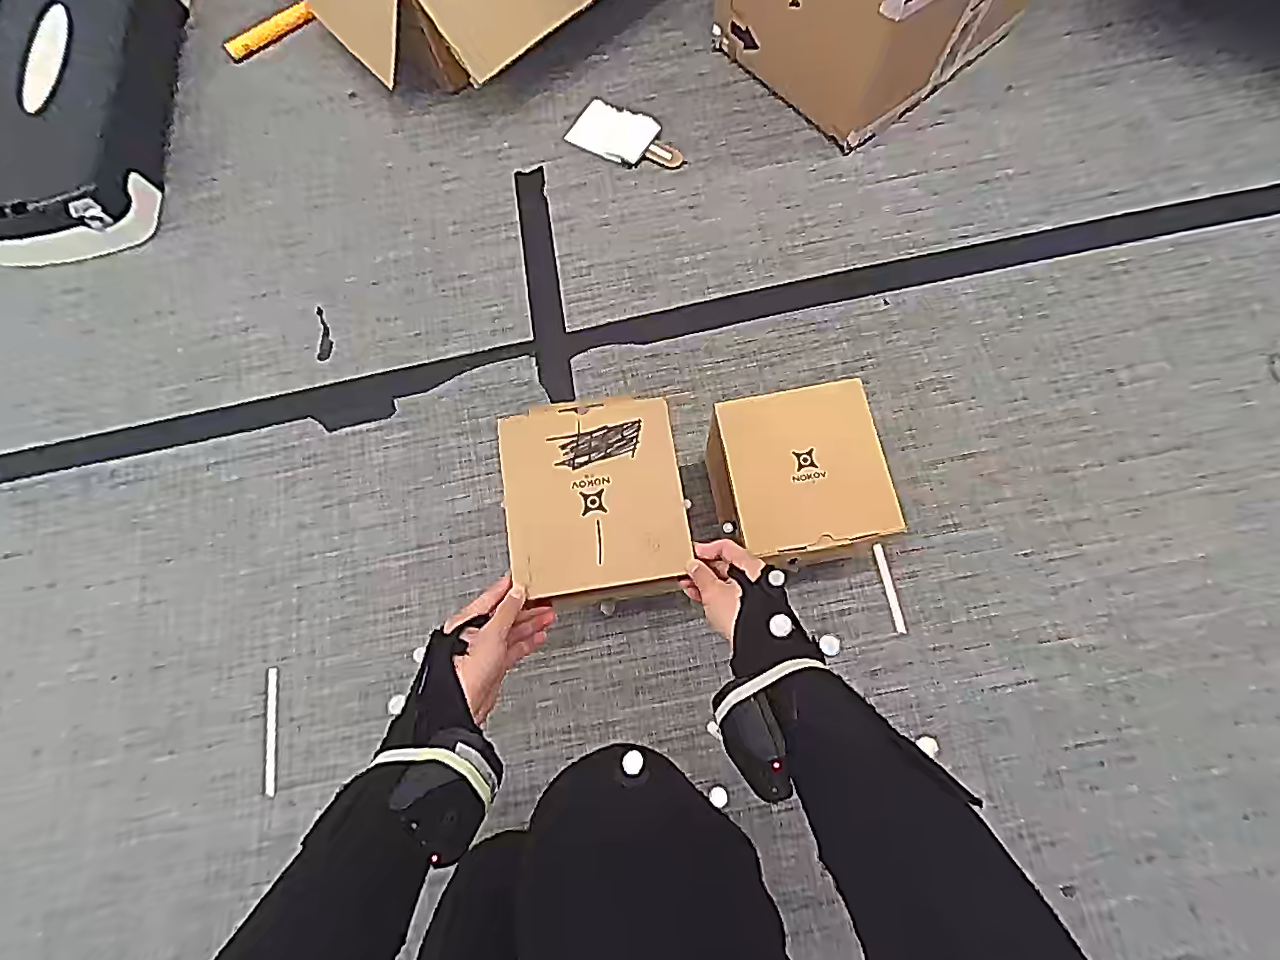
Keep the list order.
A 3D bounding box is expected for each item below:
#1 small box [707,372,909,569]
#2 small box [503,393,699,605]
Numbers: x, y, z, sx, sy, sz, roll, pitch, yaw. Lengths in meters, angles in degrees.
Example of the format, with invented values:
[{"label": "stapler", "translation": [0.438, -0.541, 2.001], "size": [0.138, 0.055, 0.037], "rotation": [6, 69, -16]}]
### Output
[{"label": "small box", "translation": [0.180, -0.001, 0.642], "size": [0.168, 0.176, 0.179], "rotation": [-11, 74, 0]}, {"label": "small box", "translation": [-0.041, 0.030, 0.574], "size": [0.168, 0.176, 0.179], "rotation": [-9, 75, -3]}]
